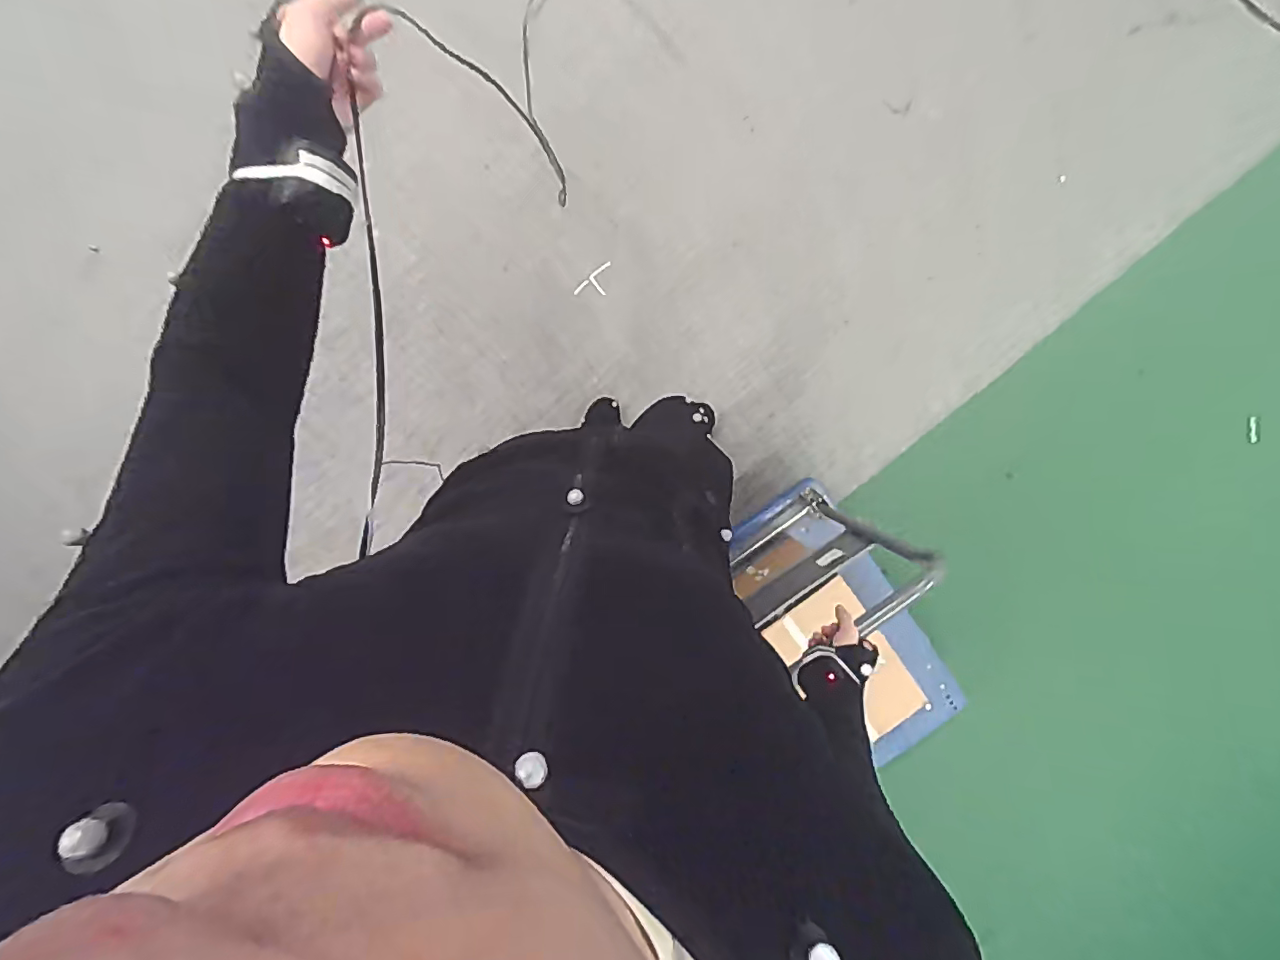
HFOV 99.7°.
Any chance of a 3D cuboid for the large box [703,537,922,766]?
[{"bbox_3d":[0.422,0.422,1.406,0.320,0.320,0.408,-36,101,3],"label":"large box"}]
